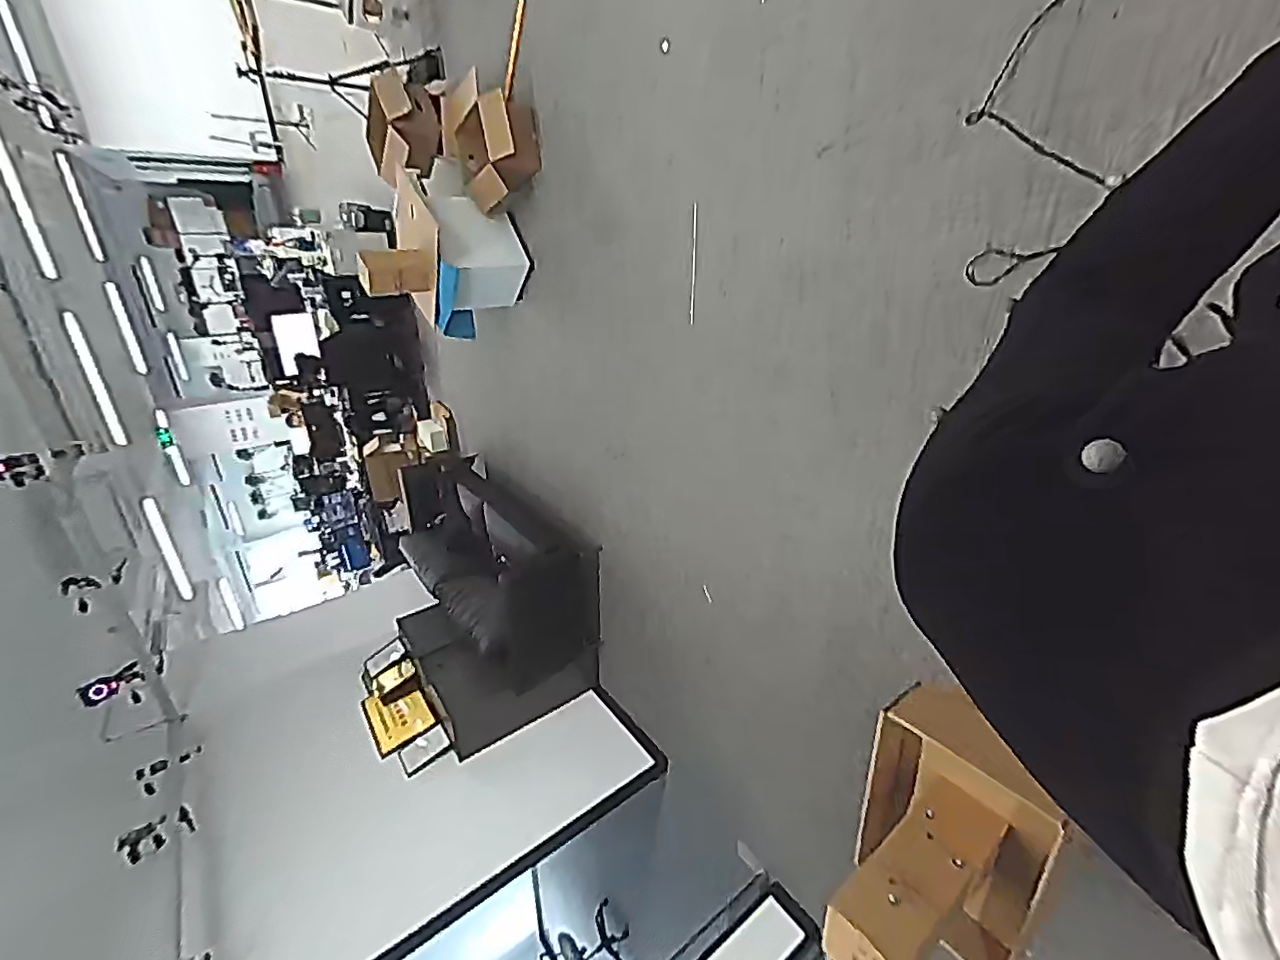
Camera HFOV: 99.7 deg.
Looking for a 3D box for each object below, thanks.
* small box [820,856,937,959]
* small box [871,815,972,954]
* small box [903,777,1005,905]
[{"bbox_3d":[0.523,0.991,1.188,0.168,0.176,0.179,26,126,47],"label":"small box"},{"bbox_3d":[0.653,0.949,1.280,0.168,0.176,0.179,29,129,46],"label":"small box"},{"bbox_3d":[0.784,0.900,1.366,0.179,0.176,0.168,26,127,48],"label":"small box"}]
